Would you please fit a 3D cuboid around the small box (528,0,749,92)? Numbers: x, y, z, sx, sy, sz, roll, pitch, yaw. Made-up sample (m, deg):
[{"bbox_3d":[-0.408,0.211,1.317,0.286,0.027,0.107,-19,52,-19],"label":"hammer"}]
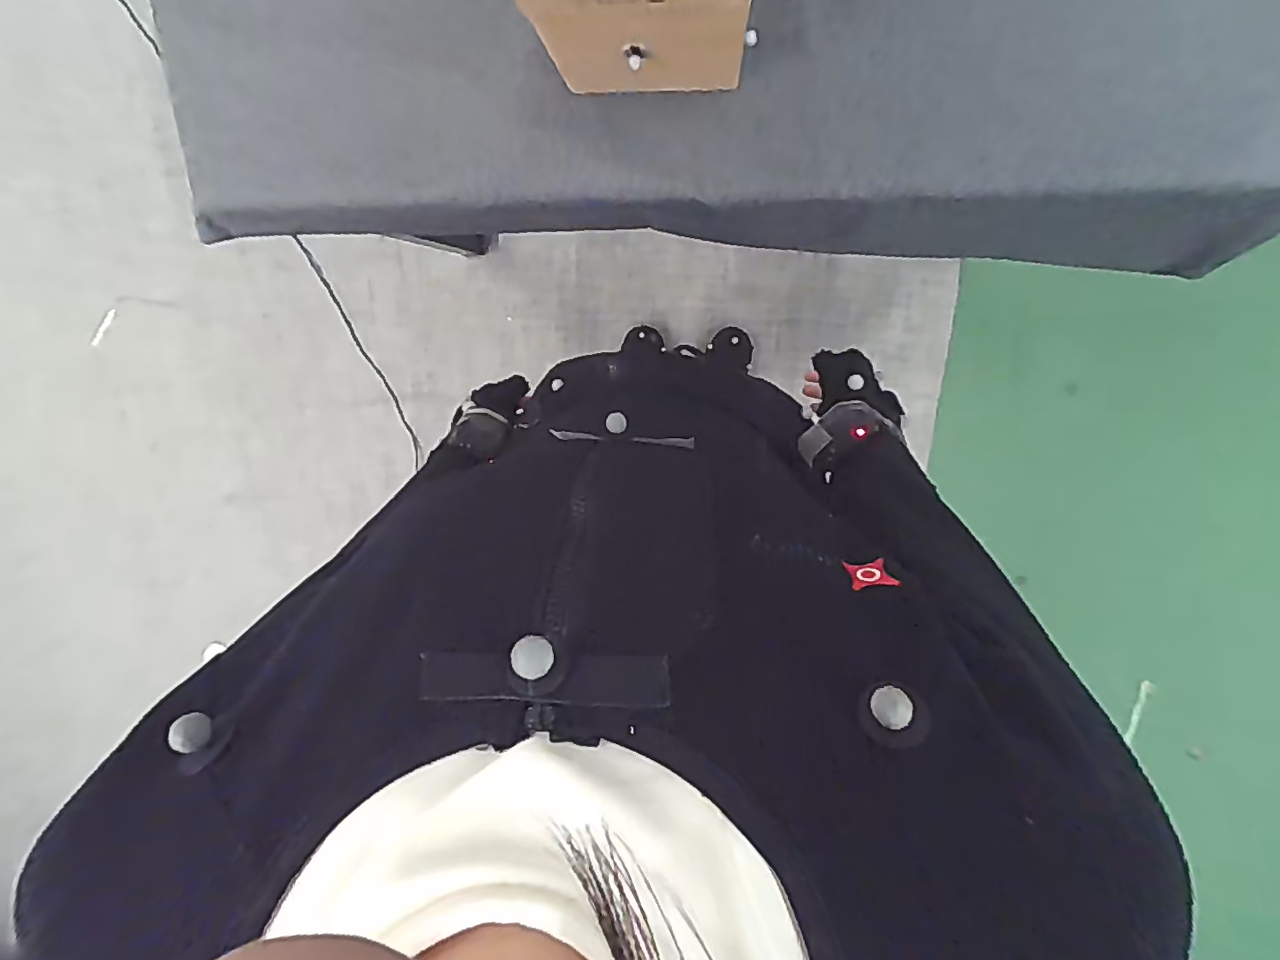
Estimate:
[{"bbox_3d":[0.008,-0.468,0.474,0.179,0.176,0.168,3,106,7],"label":"small box"}]
